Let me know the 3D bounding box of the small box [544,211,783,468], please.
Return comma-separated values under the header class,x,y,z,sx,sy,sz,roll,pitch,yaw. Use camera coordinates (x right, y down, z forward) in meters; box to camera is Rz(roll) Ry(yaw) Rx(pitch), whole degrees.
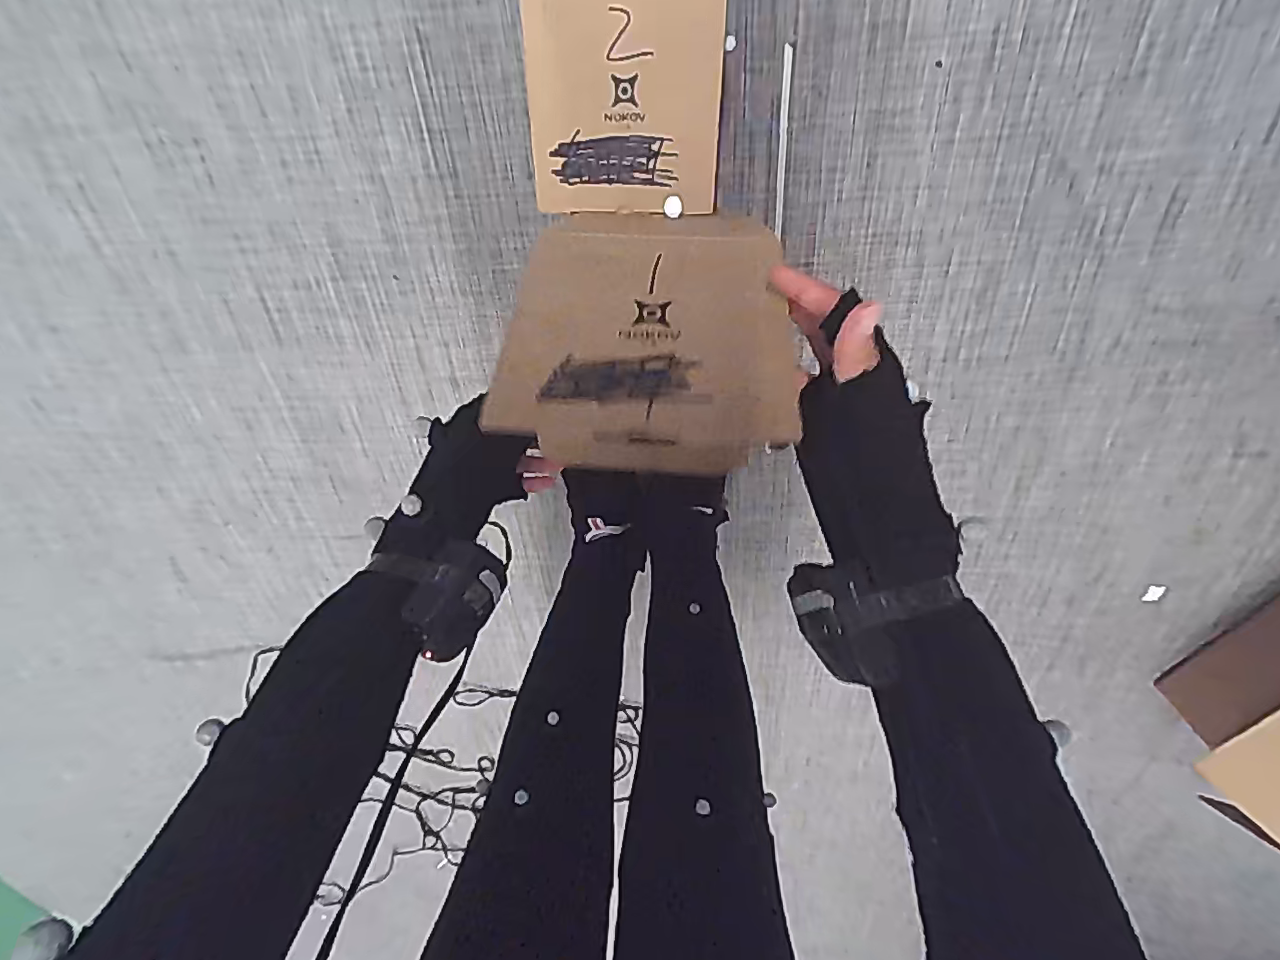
class,x,y,z,sx,sy,sz,roll,pitch,yaw
small box,0.020,-0.130,0.475,0.168,0.176,0.179,3,120,3
